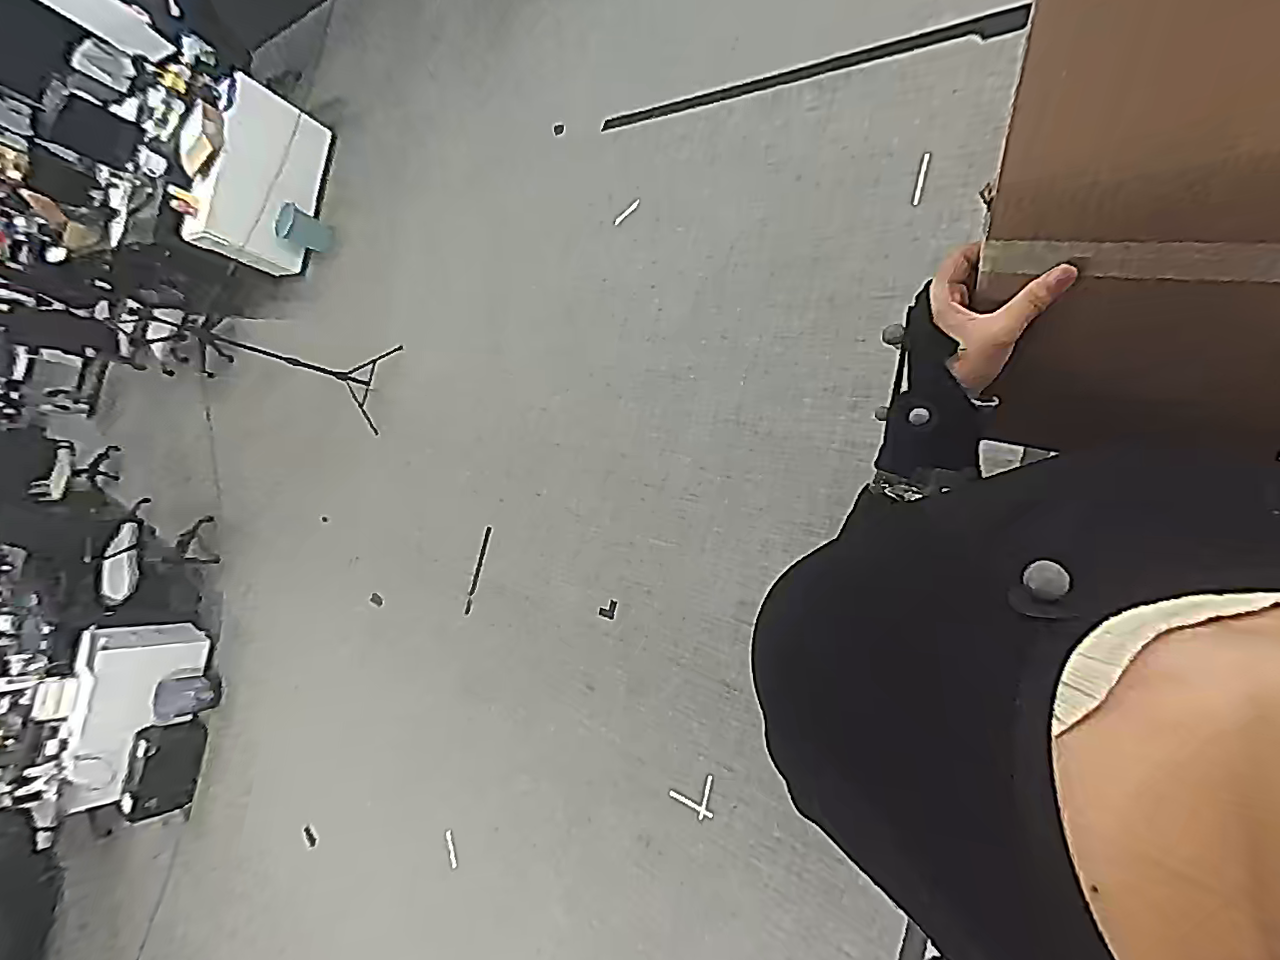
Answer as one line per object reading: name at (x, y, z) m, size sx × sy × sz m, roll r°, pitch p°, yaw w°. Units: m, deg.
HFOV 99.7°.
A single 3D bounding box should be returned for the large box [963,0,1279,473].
large box at (0.458, -0.207, 0.306) m, size 0.408 × 0.320 × 0.320 m, roll 16°, pitch 52°, yaw 32°
